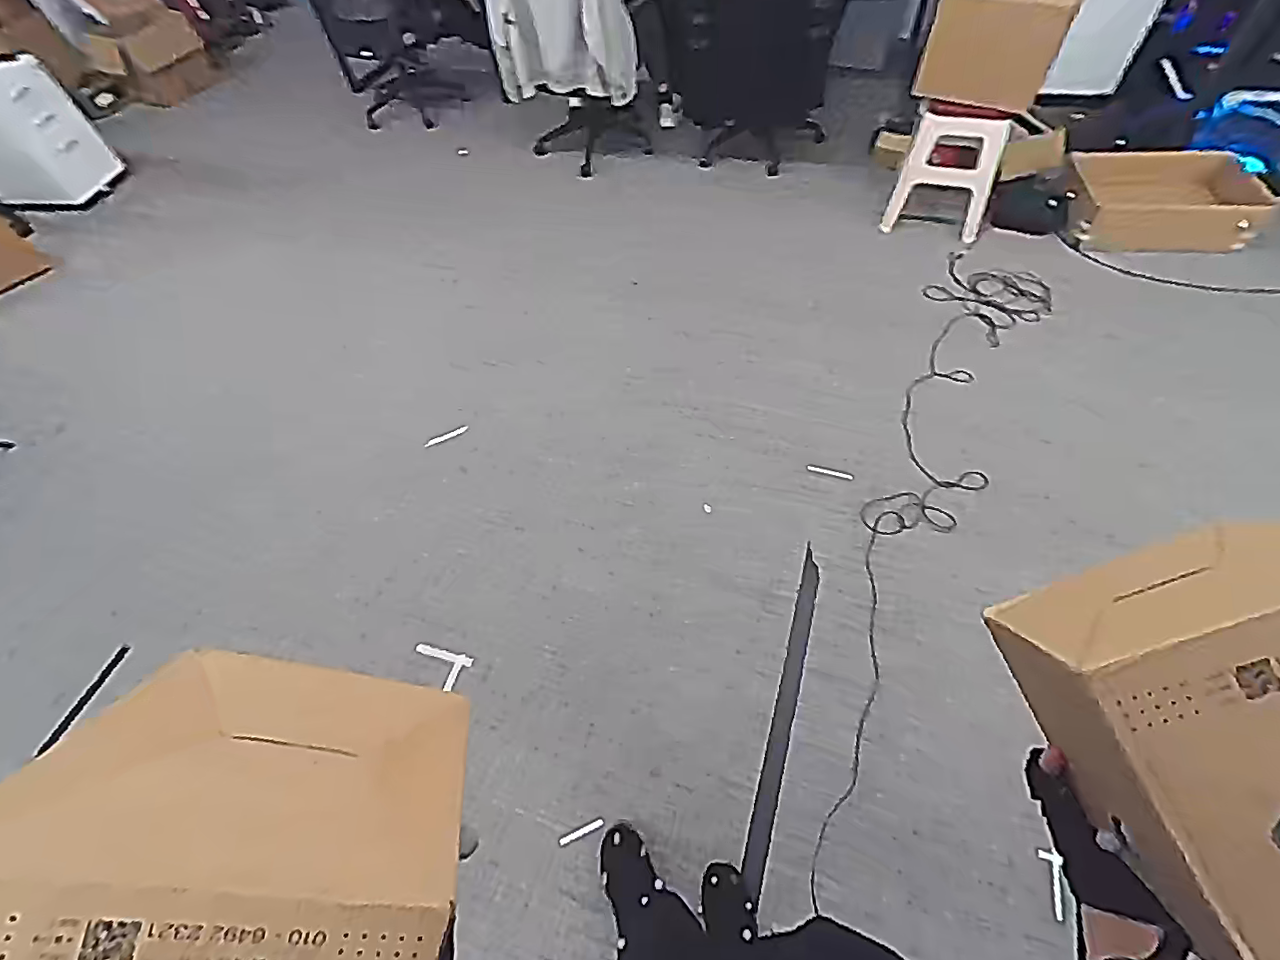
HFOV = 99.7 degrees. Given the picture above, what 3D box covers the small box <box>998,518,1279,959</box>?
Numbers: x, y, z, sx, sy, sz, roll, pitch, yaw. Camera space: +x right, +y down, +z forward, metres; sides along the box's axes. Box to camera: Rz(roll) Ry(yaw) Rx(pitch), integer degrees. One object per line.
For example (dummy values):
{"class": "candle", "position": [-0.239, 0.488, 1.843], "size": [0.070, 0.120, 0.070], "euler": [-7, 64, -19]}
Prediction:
{"class": "small box", "position": [0.336, 0.125, 0.294], "size": [0.168, 0.179, 0.176], "euler": [-25, 79, 16]}
